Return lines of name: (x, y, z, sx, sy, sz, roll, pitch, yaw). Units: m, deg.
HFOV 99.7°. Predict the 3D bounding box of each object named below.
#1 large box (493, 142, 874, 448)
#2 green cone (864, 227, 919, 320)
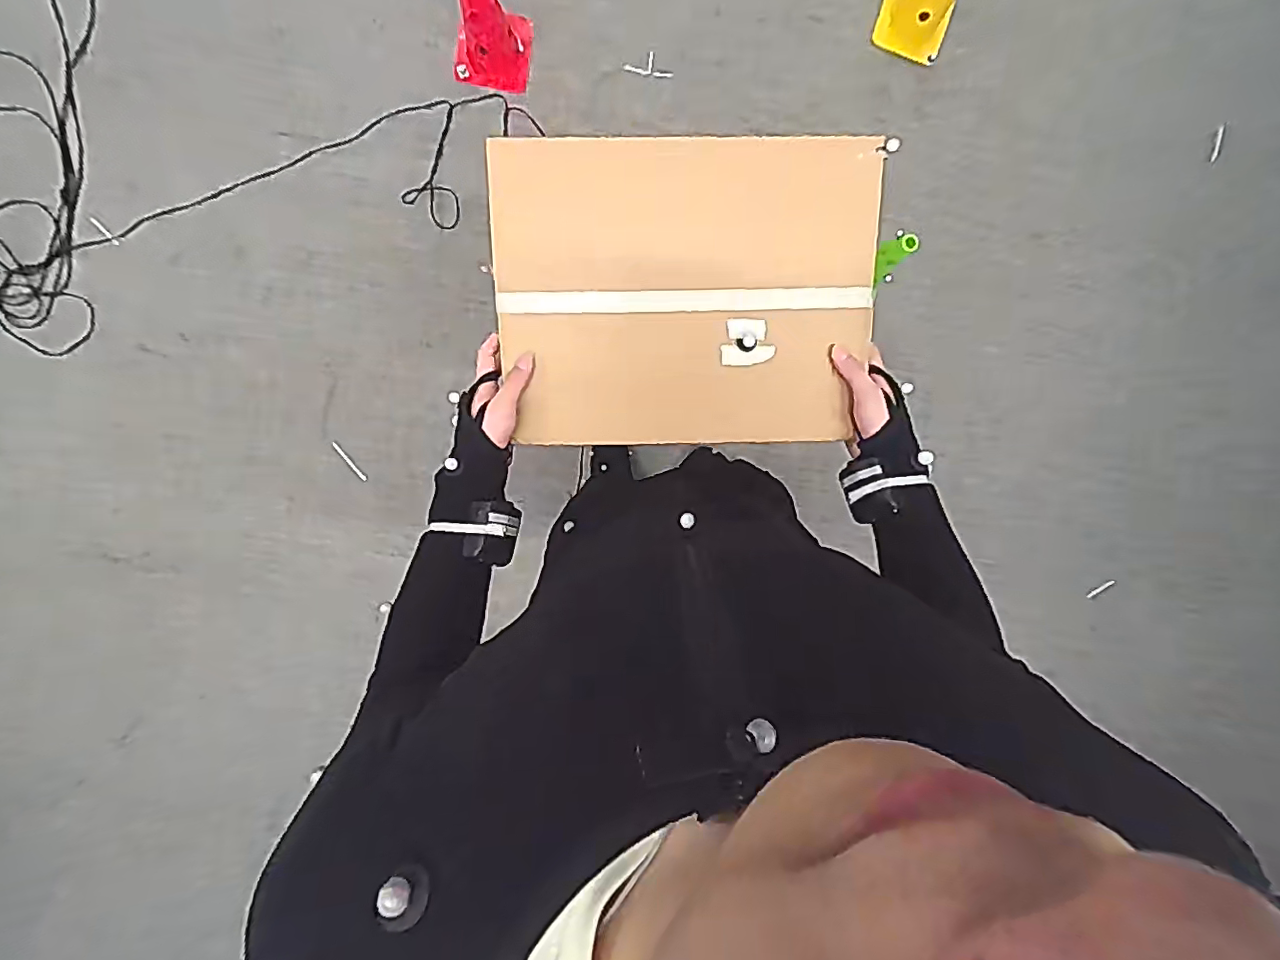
large box: (0.045, -0.228, 0.735, 0.408, 0.320, 0.320, -2, 104, -2)
green cone: (0.623, -0.579, 1.440, 0.200, 0.368, 0.202, 14, 93, -5)
